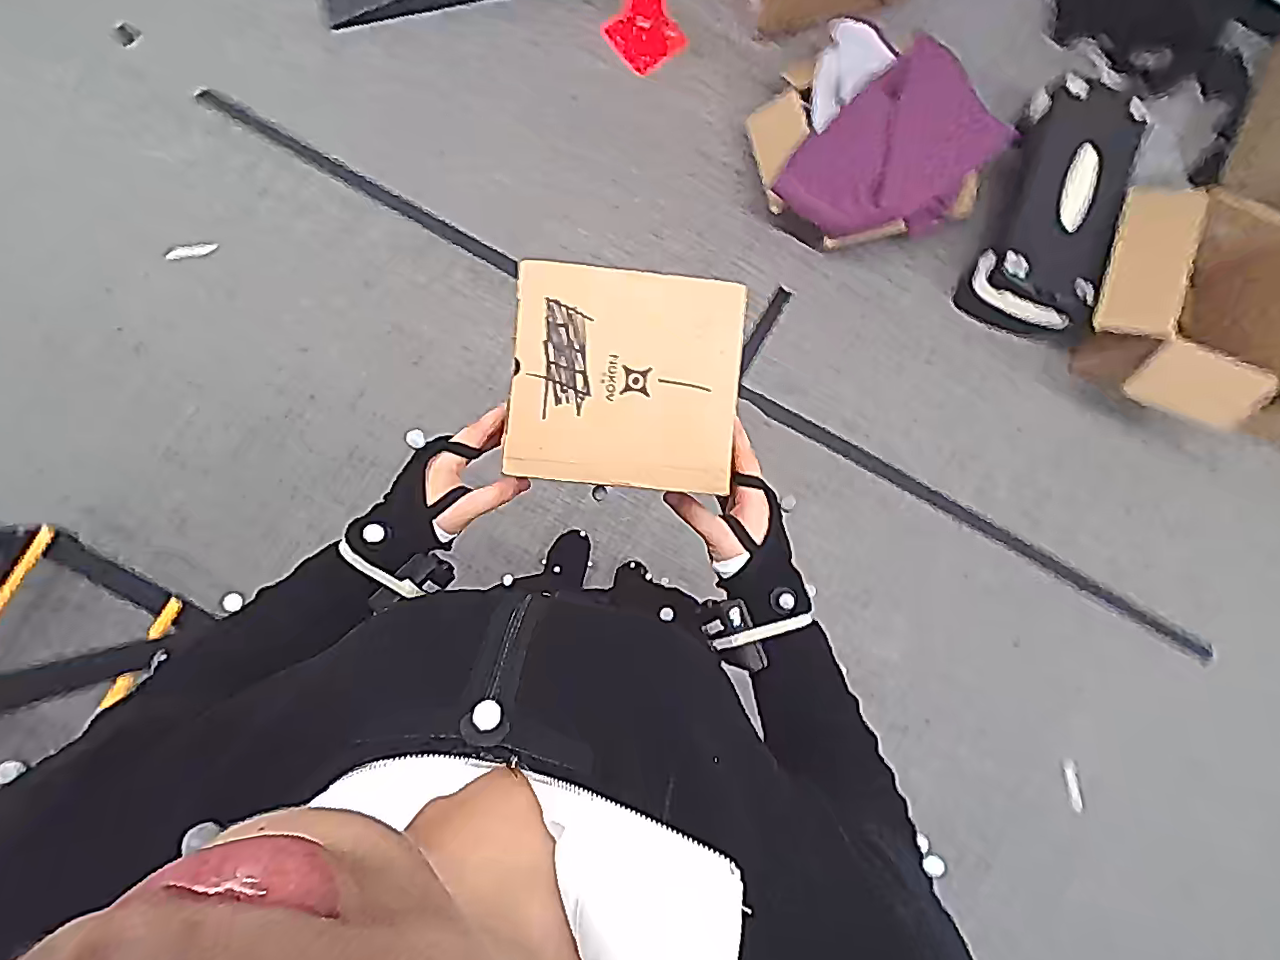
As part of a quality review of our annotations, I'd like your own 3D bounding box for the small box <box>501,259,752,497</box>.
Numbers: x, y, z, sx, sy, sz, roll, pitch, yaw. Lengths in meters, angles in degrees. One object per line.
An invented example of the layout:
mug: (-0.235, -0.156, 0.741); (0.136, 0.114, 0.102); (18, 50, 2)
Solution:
small box: (-0.013, -0.075, 0.481); (0.179, 0.176, 0.168); (5, 90, -4)
